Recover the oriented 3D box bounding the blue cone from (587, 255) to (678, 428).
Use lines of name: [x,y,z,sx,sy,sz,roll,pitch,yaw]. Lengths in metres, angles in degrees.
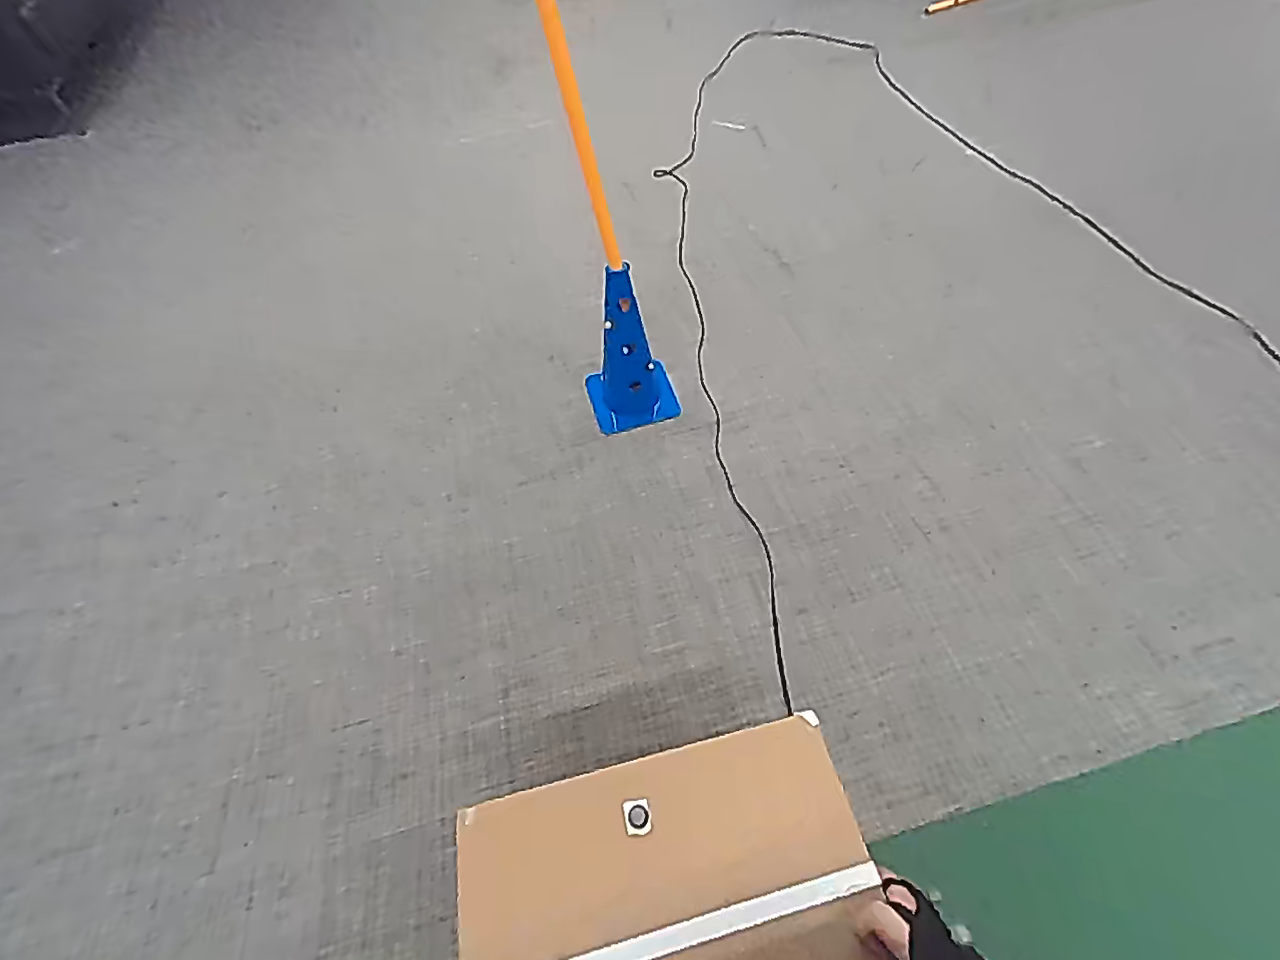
blue cone: [-0.033,-0.301,1.163,0.193,0.380,0.192,-18,56,-6]
